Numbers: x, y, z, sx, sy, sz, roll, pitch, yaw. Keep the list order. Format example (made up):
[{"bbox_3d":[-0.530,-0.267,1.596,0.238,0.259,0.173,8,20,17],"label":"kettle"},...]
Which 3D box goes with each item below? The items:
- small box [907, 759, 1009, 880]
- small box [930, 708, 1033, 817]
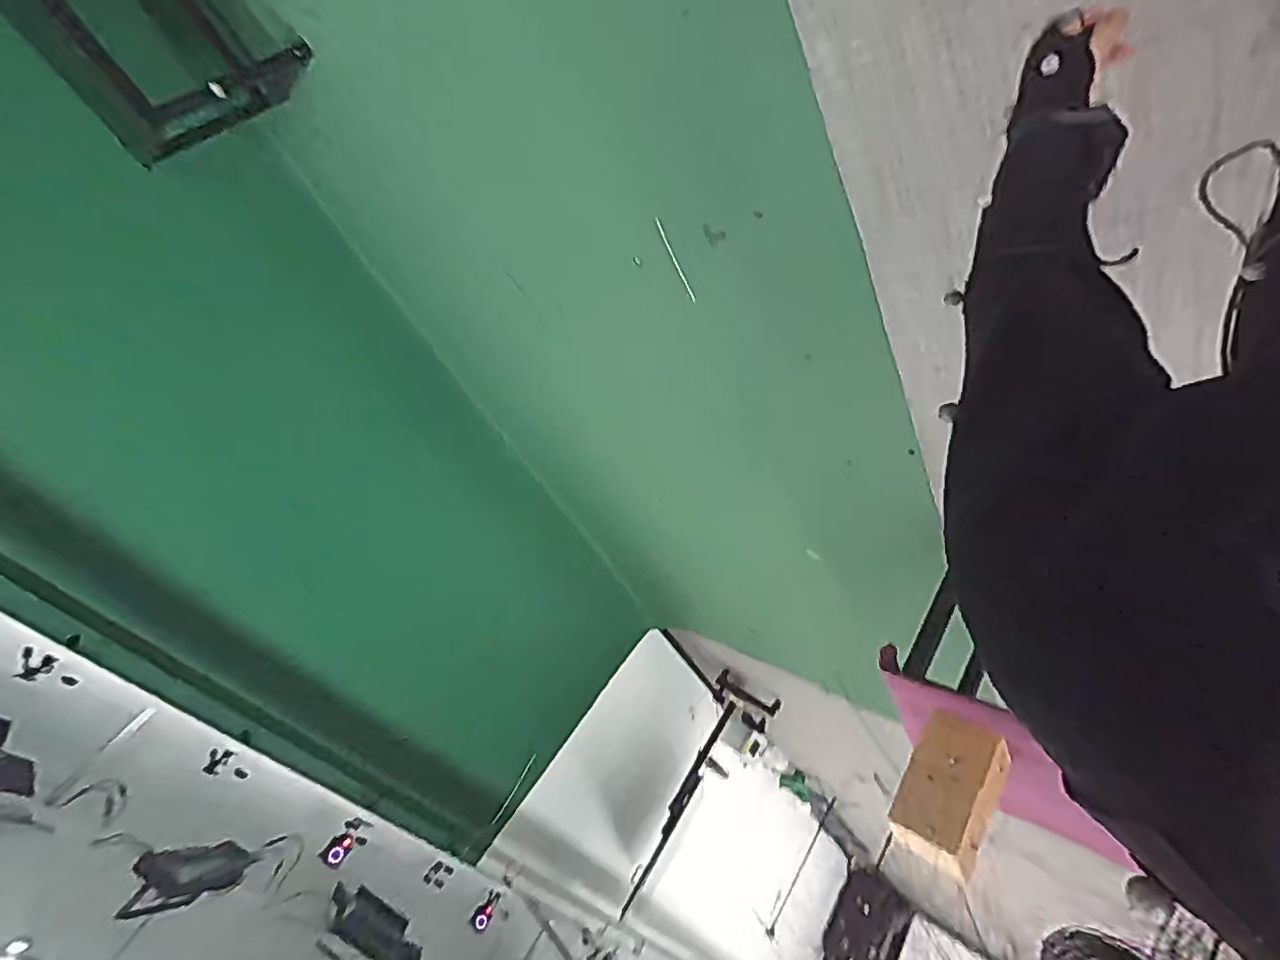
[{"bbox_3d":[0.810,0.853,1.371,0.168,0.176,0.179,6,140,49],"label":"small box"},{"bbox_3d":[0.908,0.738,1.434,0.179,0.176,0.168,7,139,50],"label":"small box"}]
